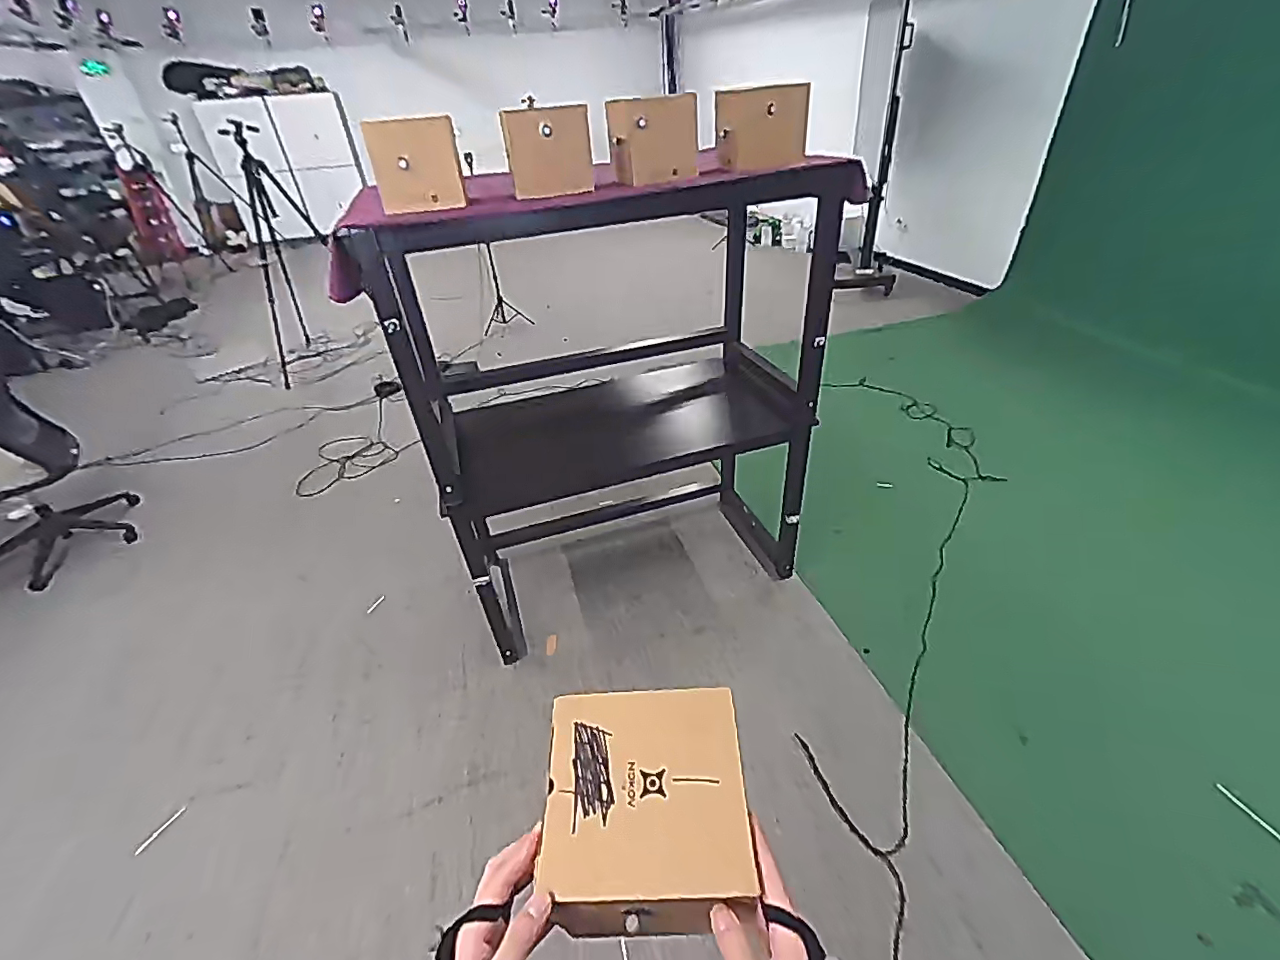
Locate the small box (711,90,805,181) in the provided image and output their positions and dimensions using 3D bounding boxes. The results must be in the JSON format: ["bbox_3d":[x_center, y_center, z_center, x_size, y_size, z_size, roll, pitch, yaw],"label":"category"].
[{"bbox_3d":[0.284,-0.846,1.330,0.179,0.176,0.168,-12,37,-9],"label":"small box"}]

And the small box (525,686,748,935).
[{"bbox_3d":[0.005,0.319,0.521,0.179,0.176,0.168,-4,42,4],"label":"small box"}]

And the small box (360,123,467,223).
[{"bbox_3d":[-0.476,-0.658,1.164,0.168,0.176,0.179,-12,34,-9],"label":"small box"}]
